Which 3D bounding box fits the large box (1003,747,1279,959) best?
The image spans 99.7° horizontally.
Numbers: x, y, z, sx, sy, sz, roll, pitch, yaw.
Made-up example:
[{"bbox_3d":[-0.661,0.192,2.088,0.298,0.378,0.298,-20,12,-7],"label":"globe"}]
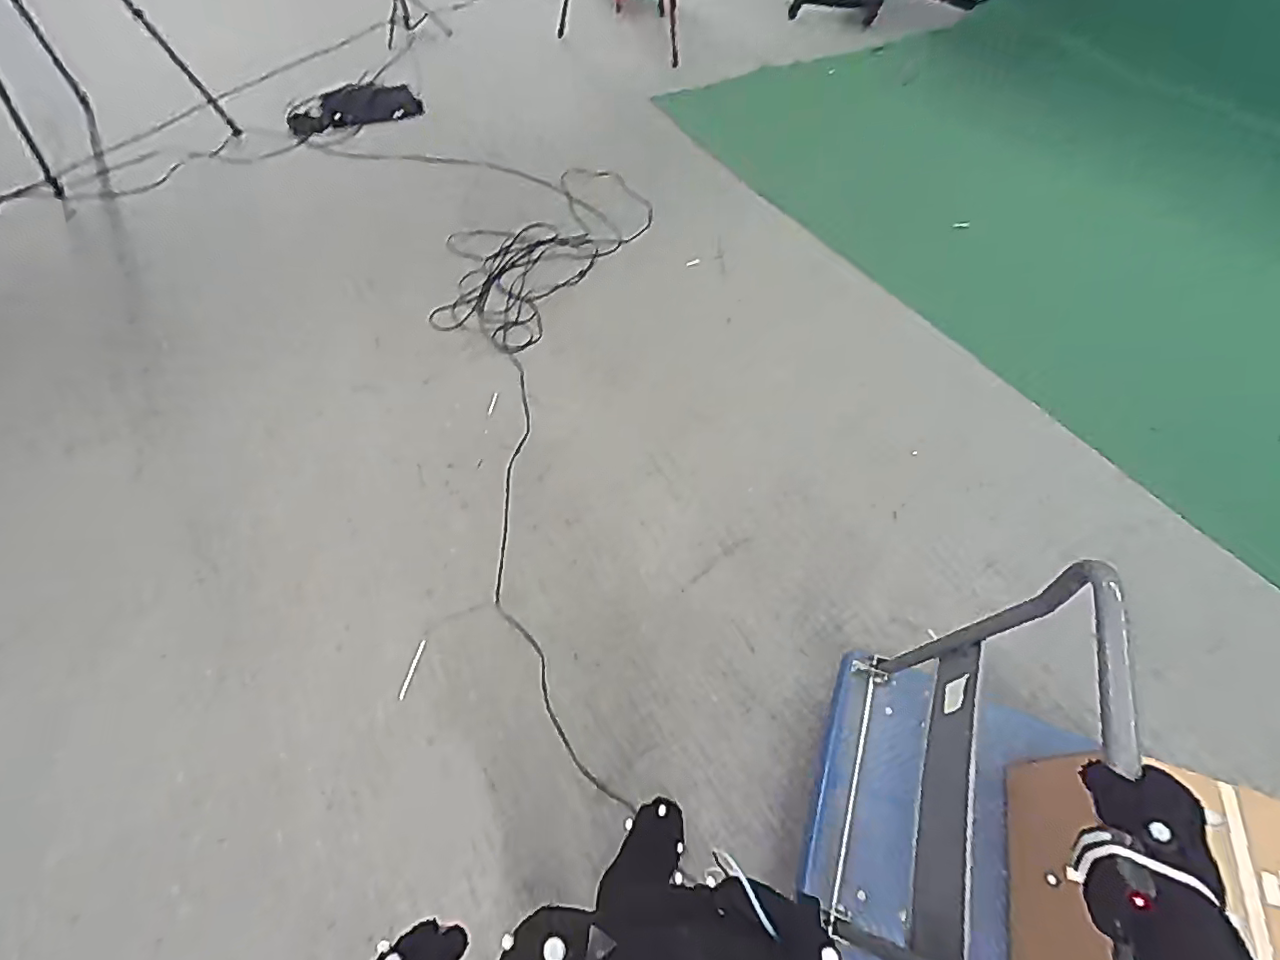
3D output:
[{"bbox_3d":[0.853,0.723,0.892,0.320,0.320,0.408,17,57,7],"label":"large box"}]
